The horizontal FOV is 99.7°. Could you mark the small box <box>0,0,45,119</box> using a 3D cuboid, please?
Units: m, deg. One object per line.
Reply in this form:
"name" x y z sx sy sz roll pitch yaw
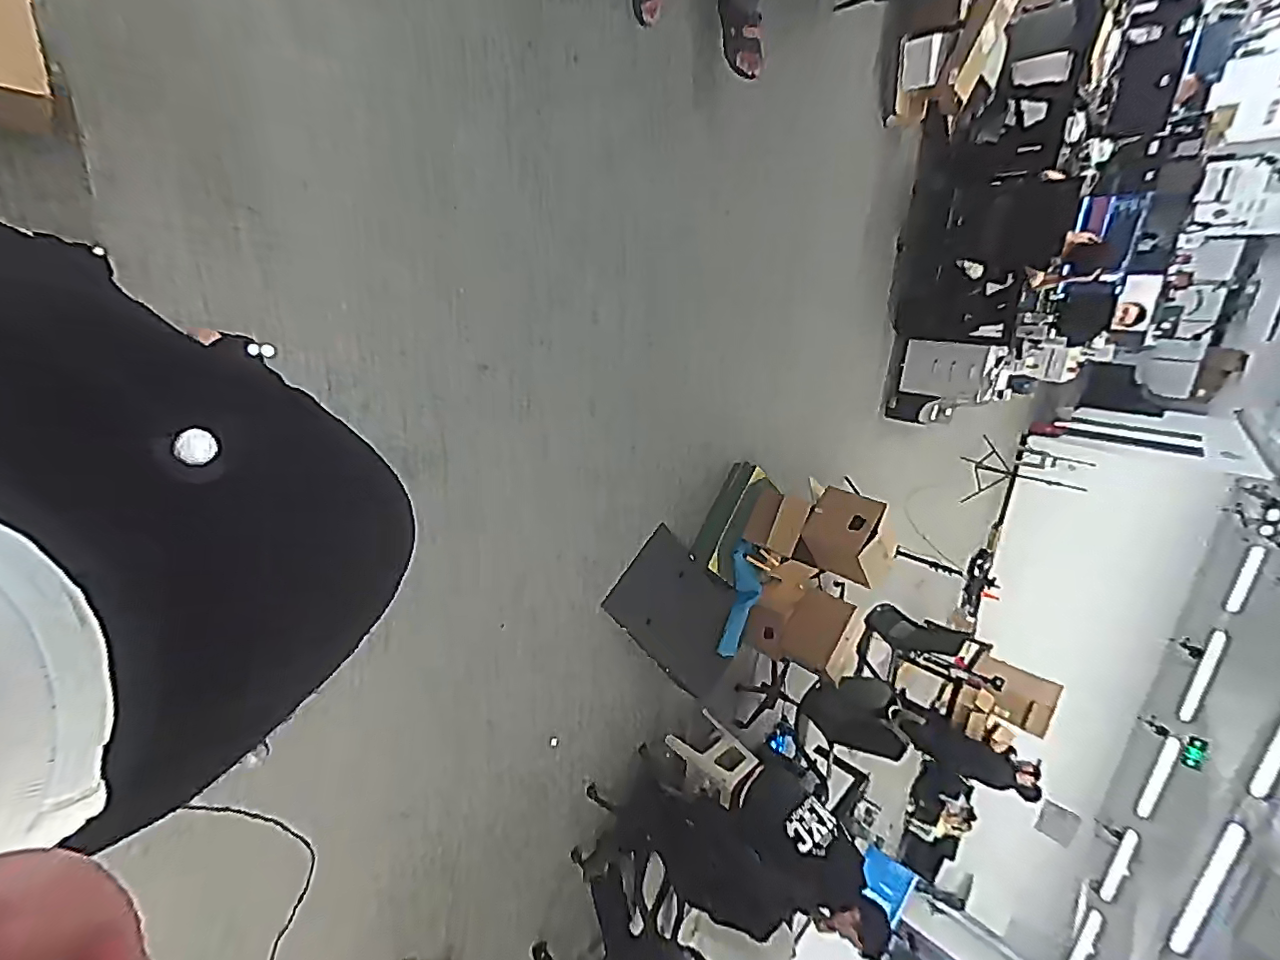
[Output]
"small box" -1.089 -0.696 0.855 0.179 0.176 0.168 -13 114 -45
